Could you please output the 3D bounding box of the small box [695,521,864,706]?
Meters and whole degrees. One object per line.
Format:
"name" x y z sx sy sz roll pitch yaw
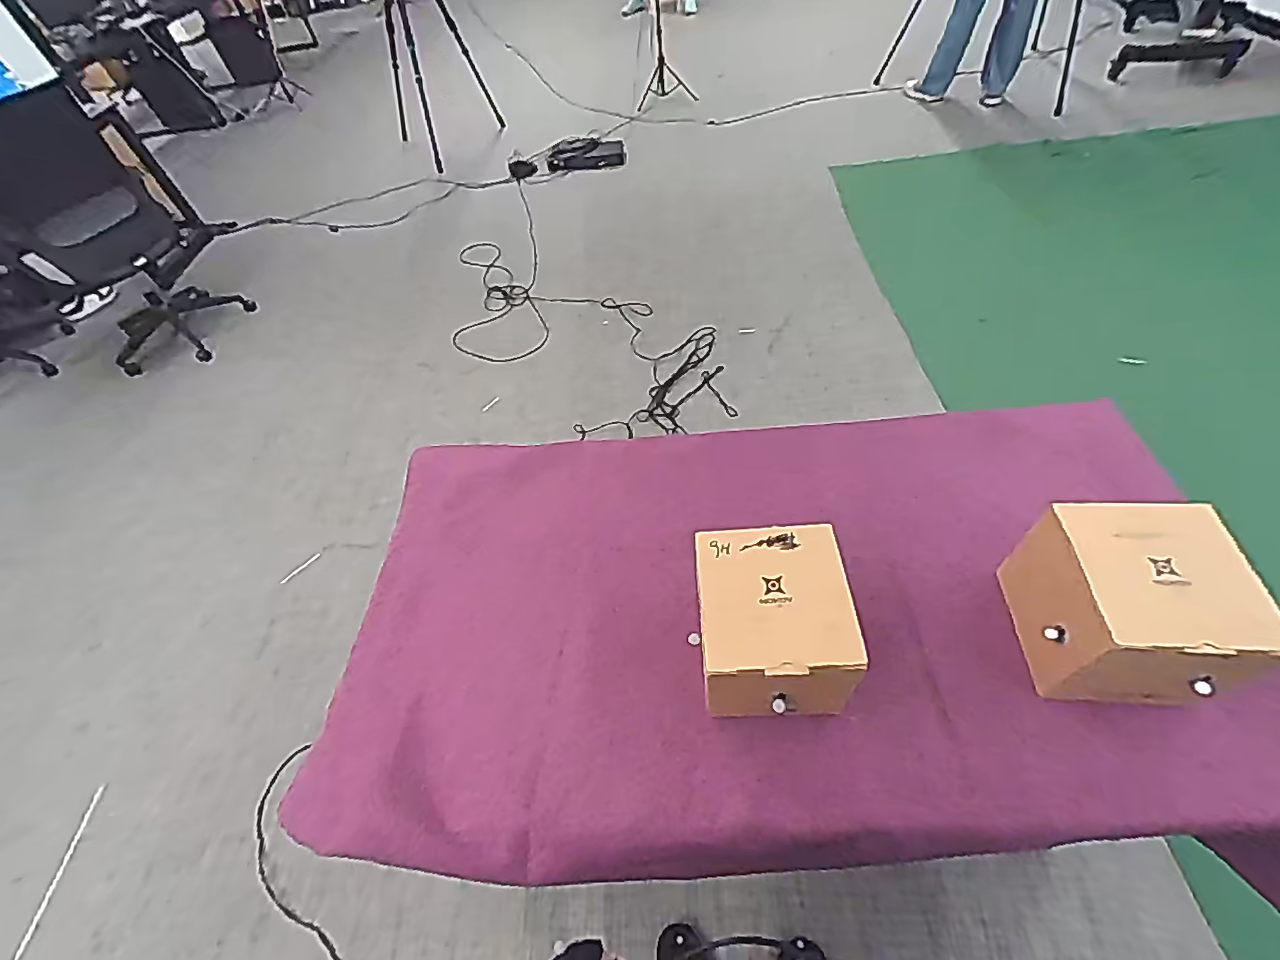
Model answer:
"small box" 0.158 0.172 0.666 0.168 0.176 0.179 -4 53 5

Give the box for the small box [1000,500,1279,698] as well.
"small box" 0.561 0.141 0.631 0.168 0.176 0.179 1 52 9
